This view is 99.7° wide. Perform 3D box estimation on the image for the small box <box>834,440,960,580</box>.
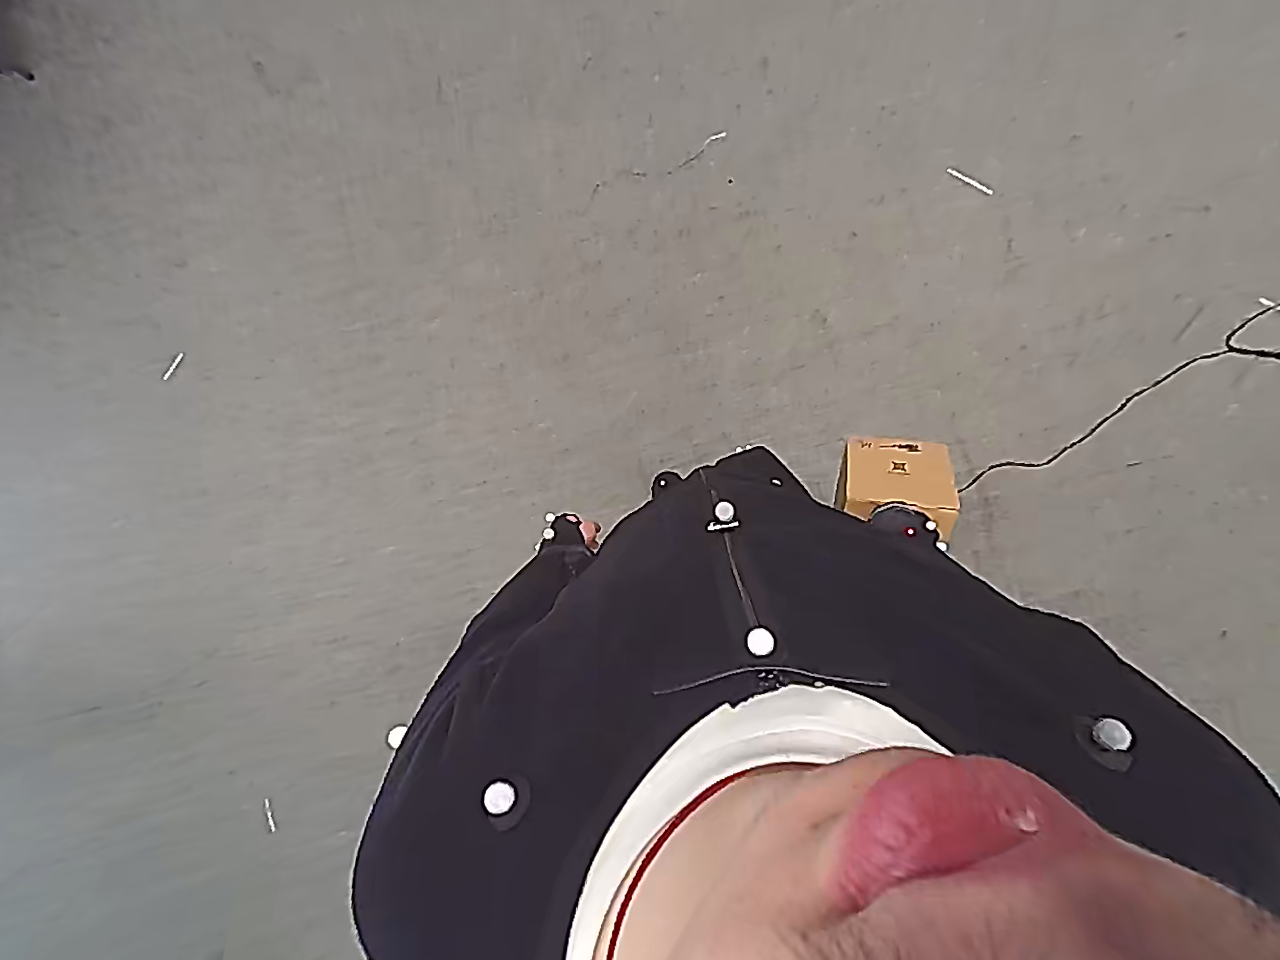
[{"bbox_3d":[0.441,0.053,0.953,0.168,0.179,0.176,7,133,15],"label":"small box"}]
